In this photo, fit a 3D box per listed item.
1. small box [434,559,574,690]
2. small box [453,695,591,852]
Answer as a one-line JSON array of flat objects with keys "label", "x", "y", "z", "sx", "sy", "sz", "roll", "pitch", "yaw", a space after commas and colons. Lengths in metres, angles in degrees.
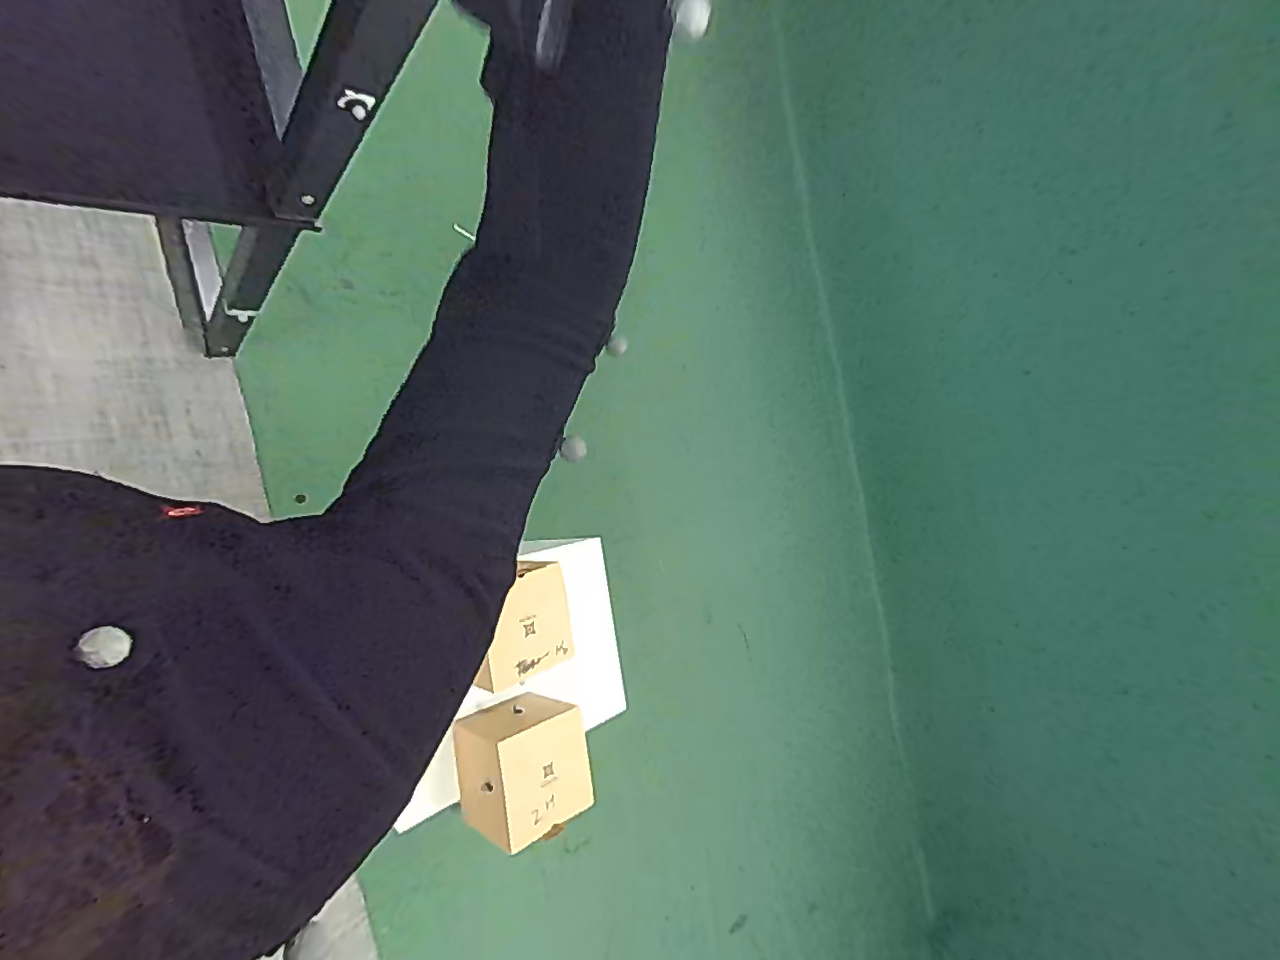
[{"label": "small box", "x": -0.242, "y": 0.241, "z": 0.947, "sx": 0.168, "sy": 0.176, "sz": 0.179, "roll": -10, "pitch": 92, "yaw": -44}, {"label": "small box", "x": -0.210, "y": 0.490, "z": 0.941, "sx": 0.168, "sy": 0.176, "sz": 0.179, "roll": -6, "pitch": 89, "yaw": -44}]
